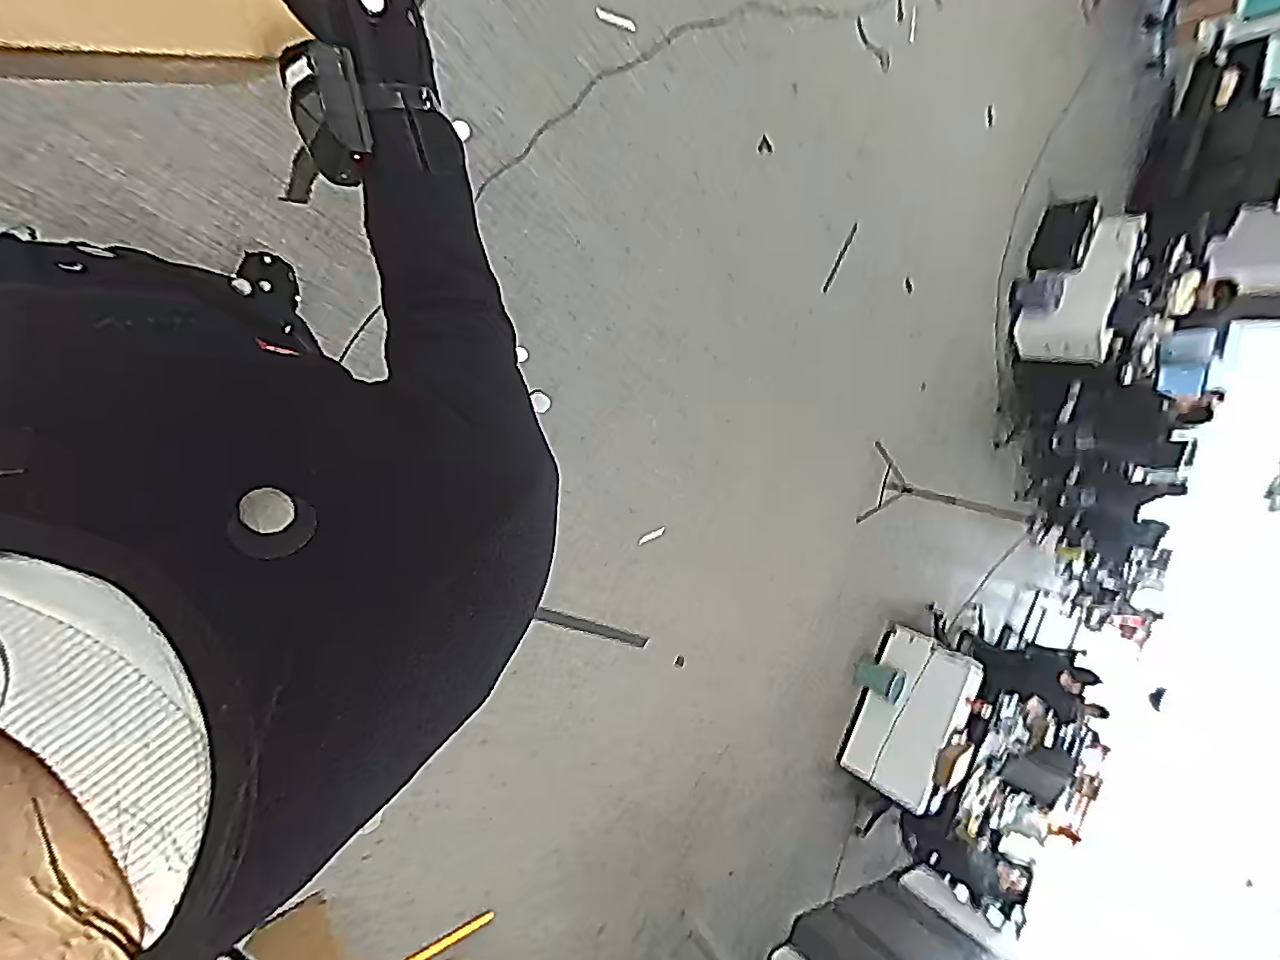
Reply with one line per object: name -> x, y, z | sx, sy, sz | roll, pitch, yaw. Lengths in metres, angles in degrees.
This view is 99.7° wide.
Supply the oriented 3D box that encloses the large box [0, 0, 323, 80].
large box -> -0.456, -0.398, 0.264 | 0.408, 0.320, 0.320 | -24, 132, -32
